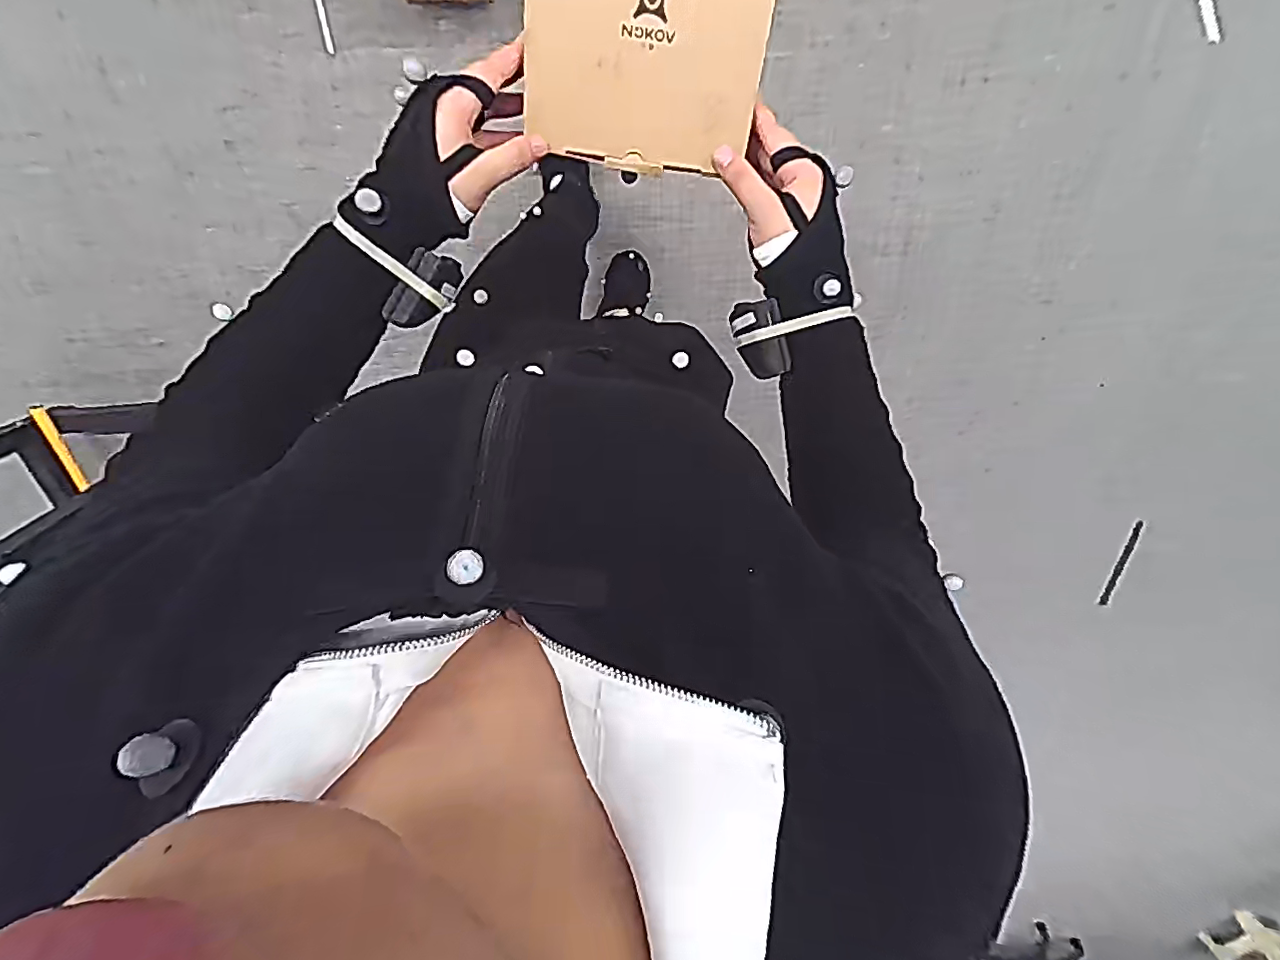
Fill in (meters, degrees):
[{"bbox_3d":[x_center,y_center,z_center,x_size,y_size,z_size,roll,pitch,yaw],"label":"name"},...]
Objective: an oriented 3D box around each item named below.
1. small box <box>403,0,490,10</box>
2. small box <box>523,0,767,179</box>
[{"bbox_3d":[-0.367,-0.967,0.963,0.179,0.176,0.168,-1,119,-2],"label":"small box"},{"bbox_3d":[0.003,-0.359,0.438,0.168,0.176,0.179,5,122,-5],"label":"small box"}]
